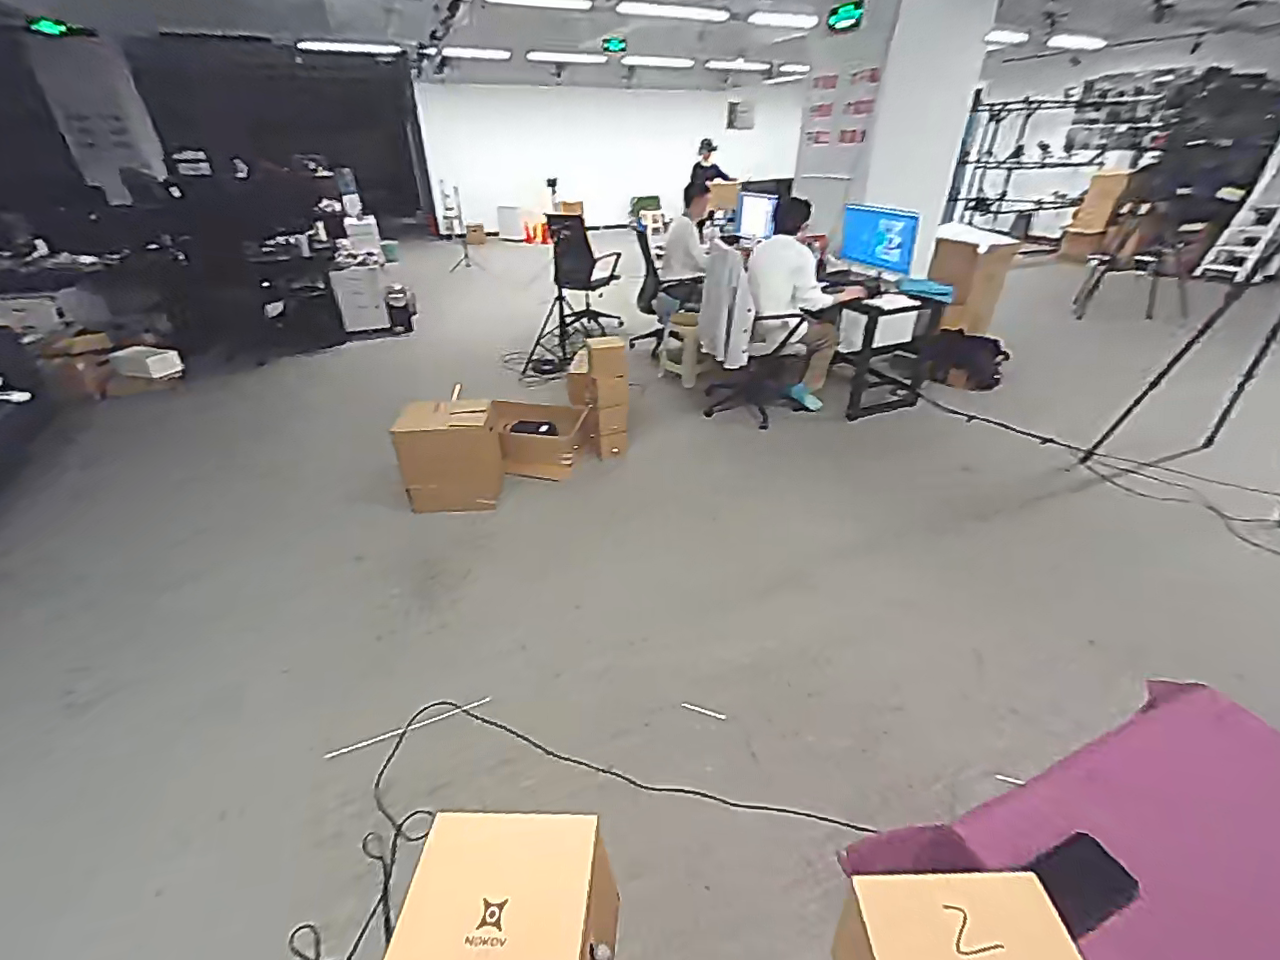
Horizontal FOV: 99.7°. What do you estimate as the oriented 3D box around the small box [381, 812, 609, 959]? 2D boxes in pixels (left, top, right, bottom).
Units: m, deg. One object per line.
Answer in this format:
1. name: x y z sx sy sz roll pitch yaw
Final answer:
1. small box: -0.125 0.447 0.508 0.168 0.176 0.179 -3 33 6
